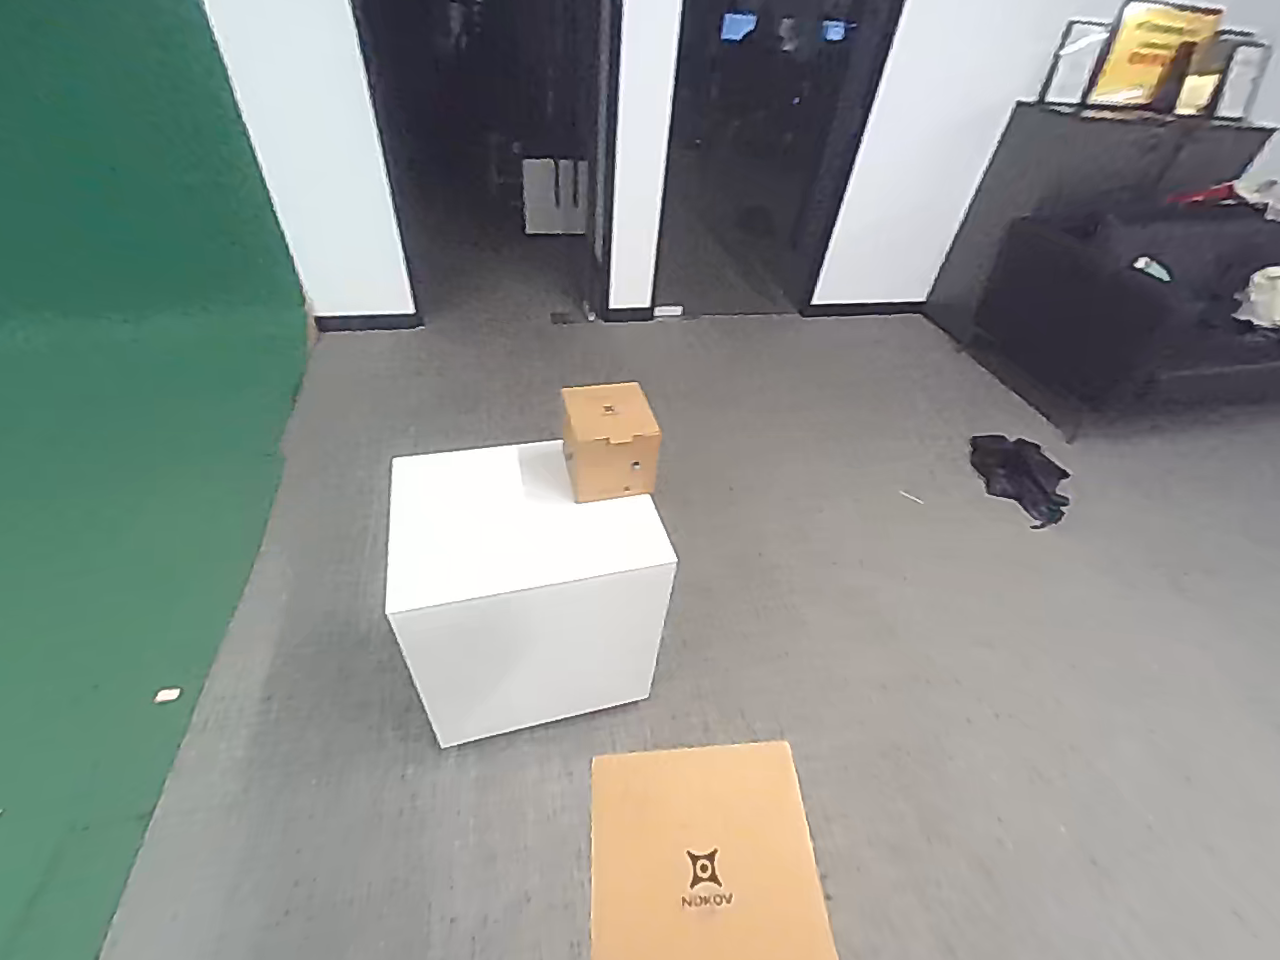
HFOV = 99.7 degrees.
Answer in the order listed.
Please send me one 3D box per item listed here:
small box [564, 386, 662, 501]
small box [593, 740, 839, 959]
[{"bbox_3d":[-0.061,-0.071,1.116,0.168,0.176,0.179,-7,44,-15],"label":"small box"},{"bbox_3d":[0.052,0.338,0.446,0.168,0.176,0.179,-5,48,0],"label":"small box"}]
